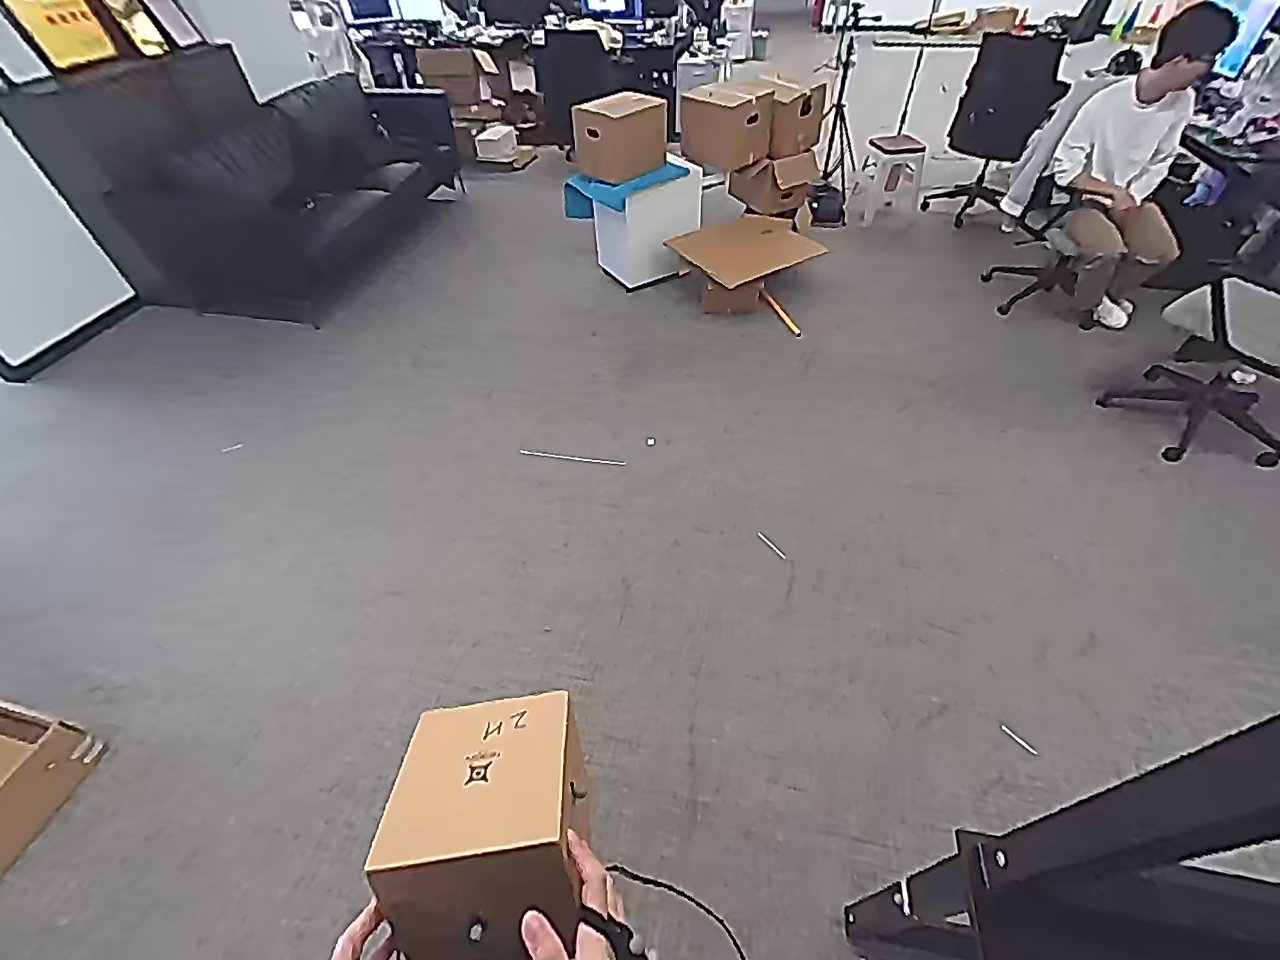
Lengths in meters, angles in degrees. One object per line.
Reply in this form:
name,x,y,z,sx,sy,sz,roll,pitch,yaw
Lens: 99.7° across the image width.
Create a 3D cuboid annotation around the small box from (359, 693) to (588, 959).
small box,-0.147,0.354,0.550,0.168,0.176,0.179,-8,21,-2
